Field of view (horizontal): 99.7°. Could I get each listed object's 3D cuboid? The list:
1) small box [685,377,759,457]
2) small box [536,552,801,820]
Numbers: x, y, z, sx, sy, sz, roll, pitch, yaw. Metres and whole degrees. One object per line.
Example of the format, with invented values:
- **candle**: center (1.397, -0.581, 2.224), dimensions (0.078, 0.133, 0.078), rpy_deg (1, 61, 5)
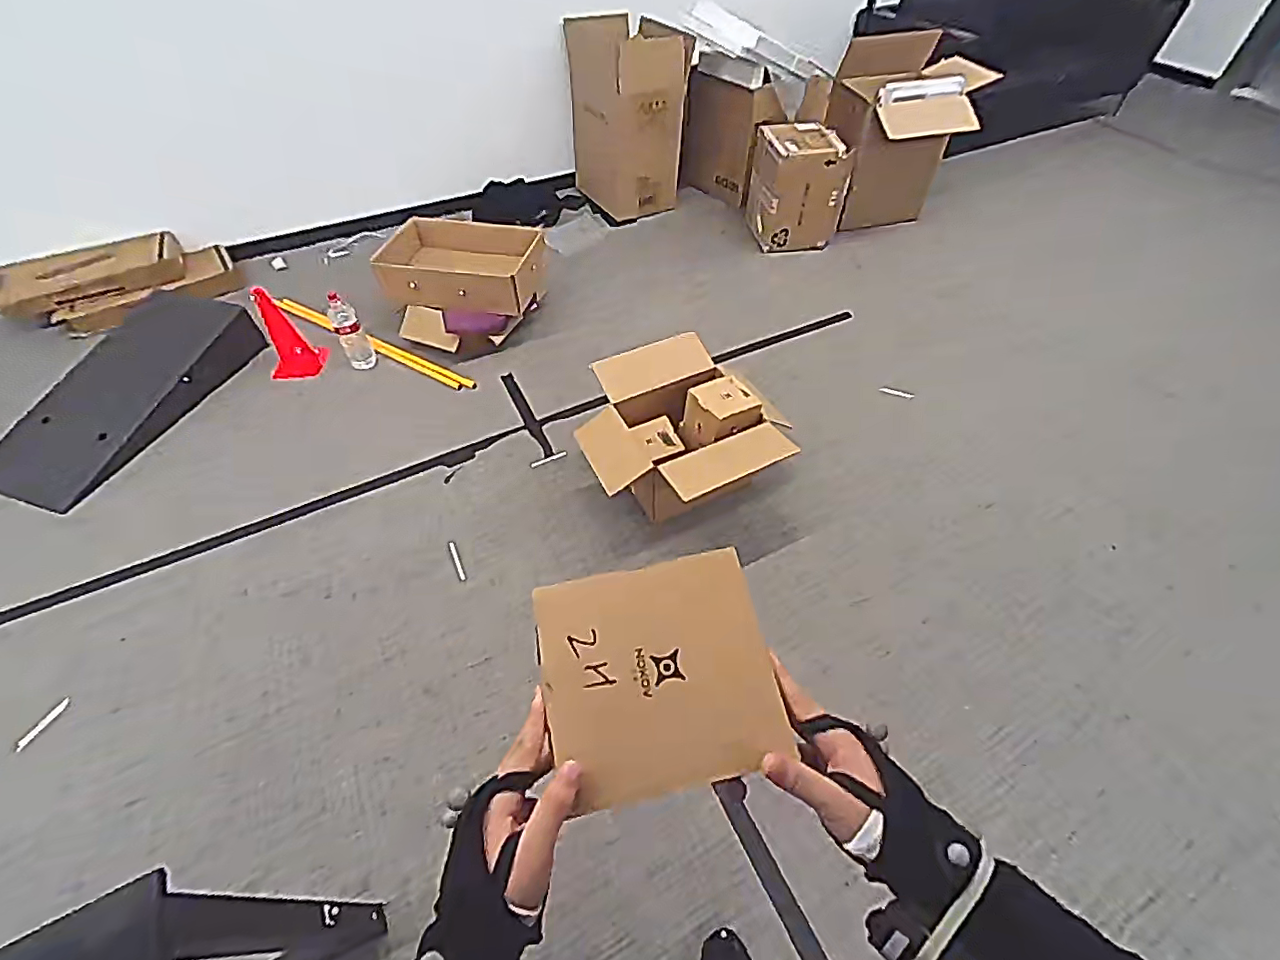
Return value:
- **small box**: center (0.257, -0.200, 1.749), dimensions (0.179, 0.176, 0.168), rpy_deg (-22, 53, -21)
- **small box**: center (0.015, 0.182, 0.481), dimensions (0.179, 0.176, 0.168), rpy_deg (-11, 63, -5)
